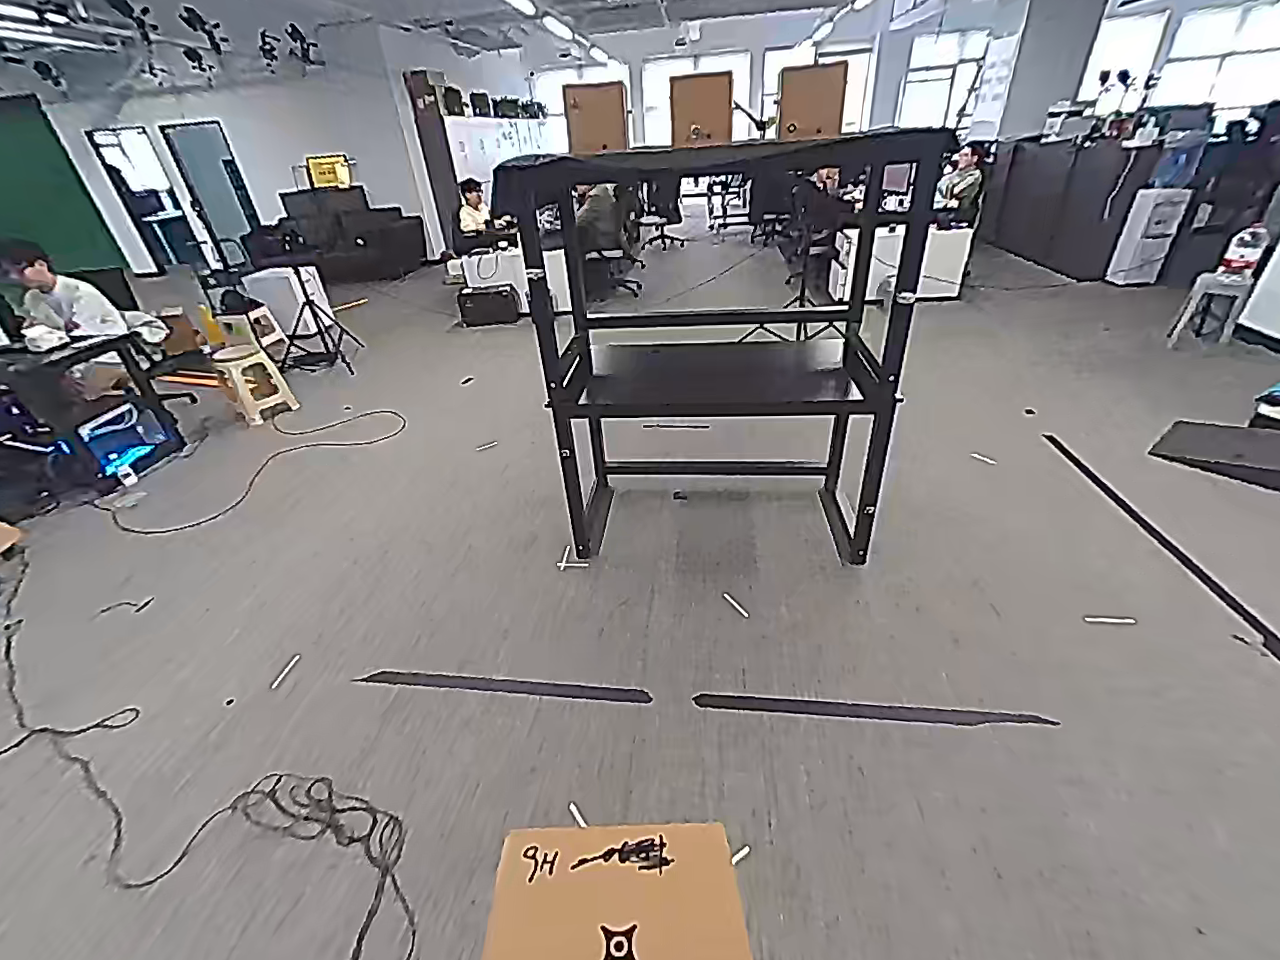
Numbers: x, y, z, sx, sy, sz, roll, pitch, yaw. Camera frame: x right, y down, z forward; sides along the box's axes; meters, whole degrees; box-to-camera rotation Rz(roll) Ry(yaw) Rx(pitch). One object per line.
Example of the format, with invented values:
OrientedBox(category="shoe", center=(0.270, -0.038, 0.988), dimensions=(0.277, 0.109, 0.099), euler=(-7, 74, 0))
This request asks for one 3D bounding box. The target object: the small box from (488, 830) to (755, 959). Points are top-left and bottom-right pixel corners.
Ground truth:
OrientedBox(category="small box", center=(-0.012, 0.369, 0.351), dimensions=(0.168, 0.176, 0.179), euler=(1, 22, -3))

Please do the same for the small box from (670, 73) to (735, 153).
OrientedBox(category="small box", center=(0.176, -1.008, 1.496), dimensions=(0.168, 0.176, 0.179), euler=(1, 32, 10))

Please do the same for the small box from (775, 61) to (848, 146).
OrientedBox(category="small box", center=(0.458, -1.012, 1.465), dimensions=(0.168, 0.176, 0.179), euler=(1, 32, 9))
